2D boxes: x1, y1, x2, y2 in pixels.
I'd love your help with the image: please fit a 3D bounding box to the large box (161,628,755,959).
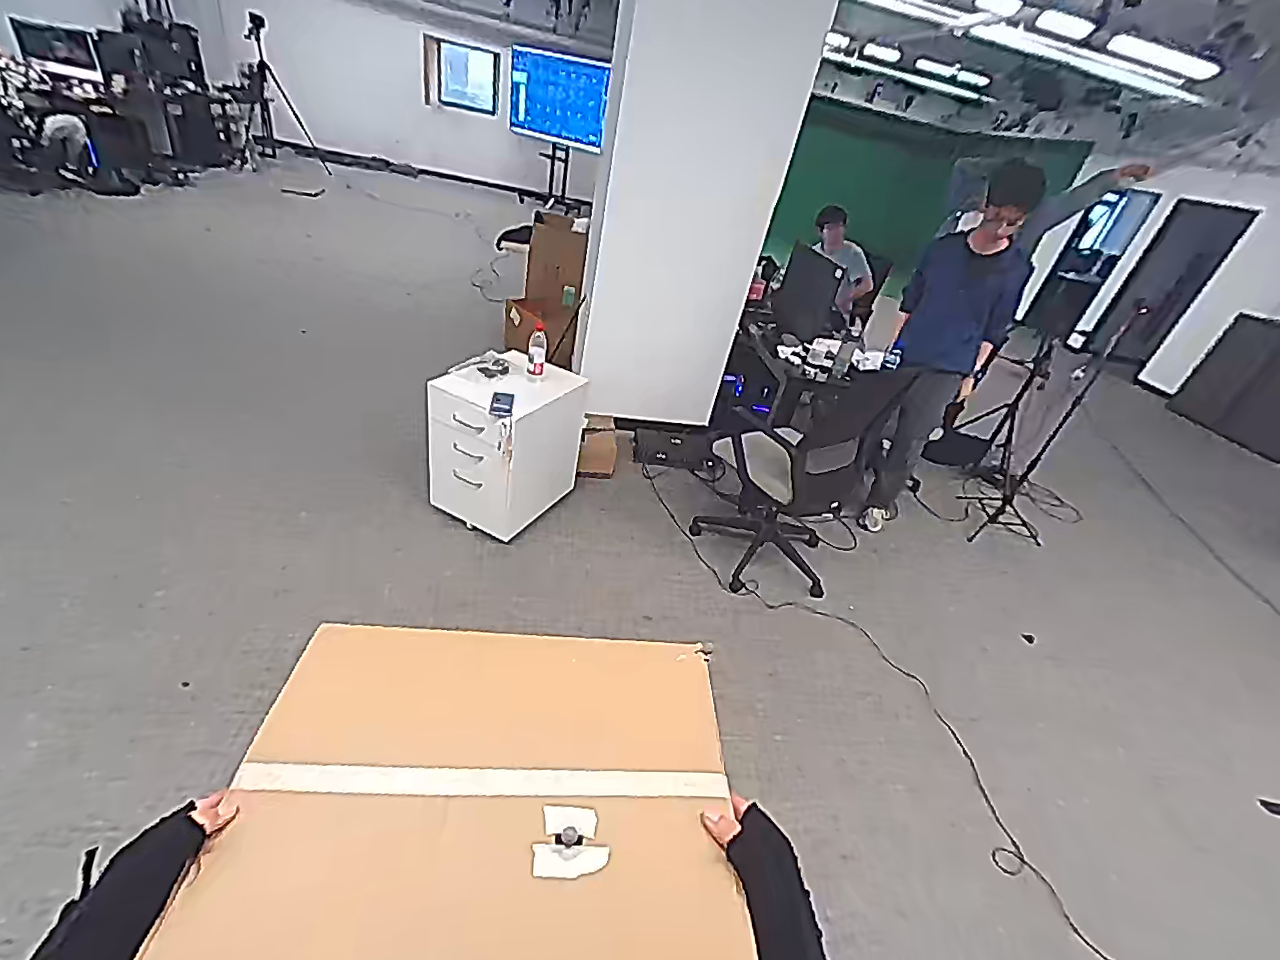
[{"bbox_3d":[-0.142,0.381,0.551,0.408,0.320,0.320,6,35,-7],"label":"large box"}]
